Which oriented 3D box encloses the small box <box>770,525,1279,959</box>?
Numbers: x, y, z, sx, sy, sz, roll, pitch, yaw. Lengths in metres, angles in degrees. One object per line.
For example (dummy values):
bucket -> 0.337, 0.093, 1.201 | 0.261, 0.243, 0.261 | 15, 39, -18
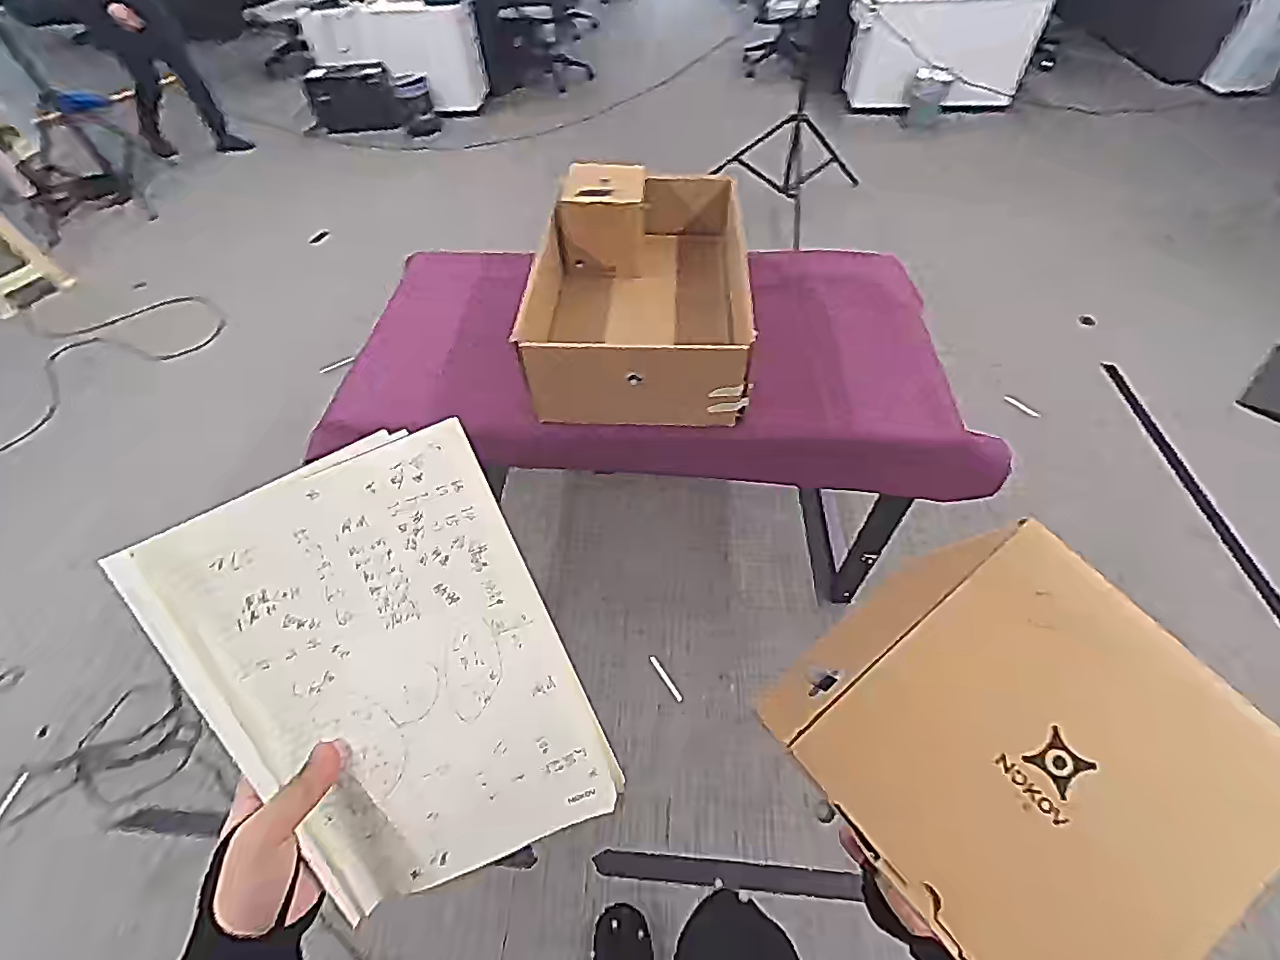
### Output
small box -> 0.199, 0.154, 0.322 | 0.179, 0.176, 0.168 | -40, 74, -6
